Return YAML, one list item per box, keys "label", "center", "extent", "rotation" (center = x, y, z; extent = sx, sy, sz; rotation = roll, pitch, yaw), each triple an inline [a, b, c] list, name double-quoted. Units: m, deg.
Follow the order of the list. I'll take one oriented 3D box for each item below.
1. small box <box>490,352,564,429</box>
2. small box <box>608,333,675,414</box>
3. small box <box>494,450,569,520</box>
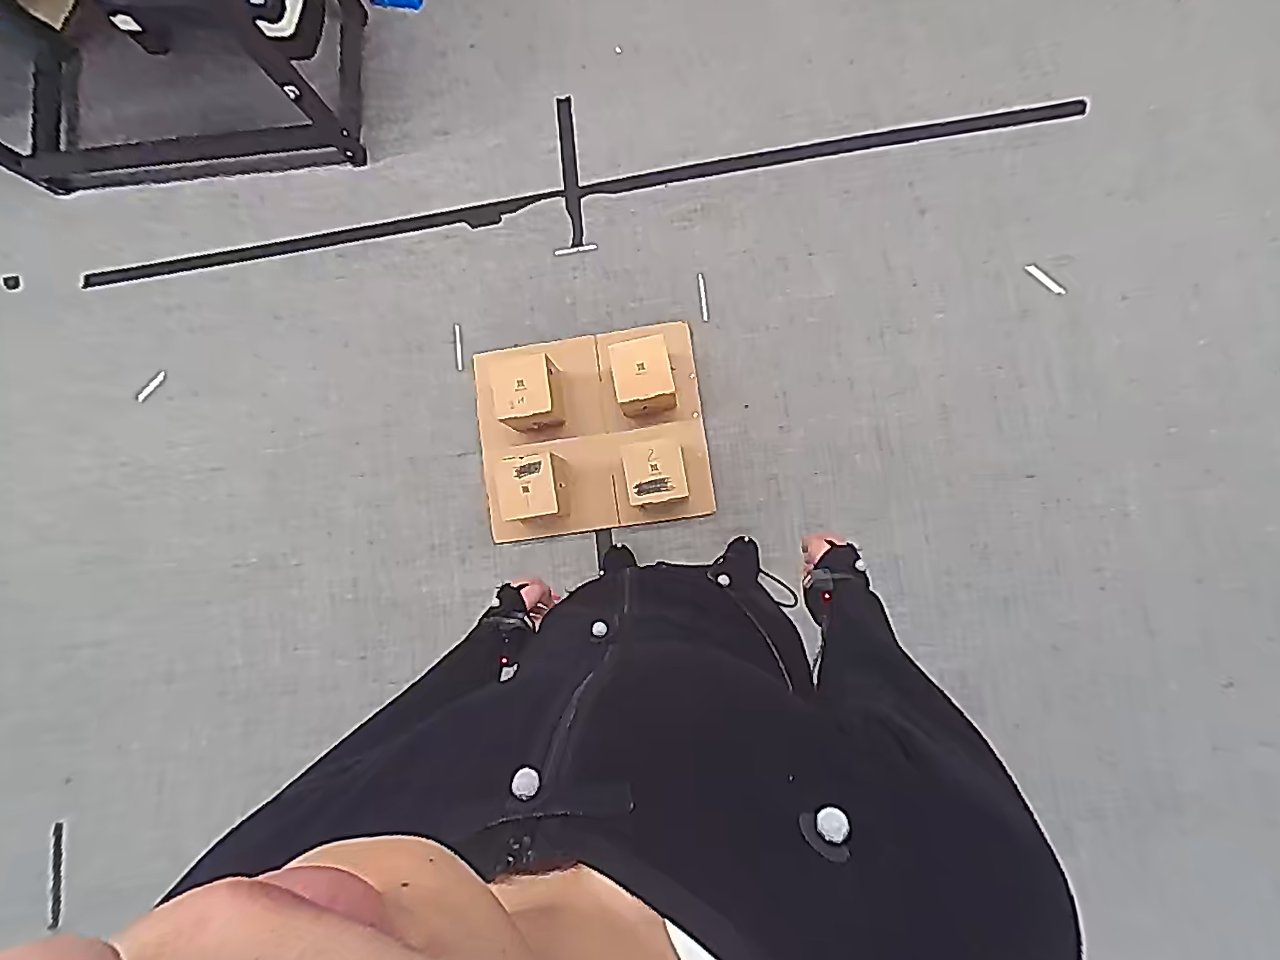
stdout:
- label: "small box"
  center: [-0.333, -0.263, 1.616]
  extent: [0.168, 0.176, 0.179]
  rotation: [-9, 85, 5]
- label: "small box"
  center: [0.007, -0.308, 1.596]
  extent: [0.168, 0.176, 0.179]
  rotation: [-12, 84, 4]
- label: "small box"
  center: [-0.314, 0.020, 1.590]
  extent: [0.168, 0.176, 0.179]
  rotation: [-9, 85, 5]
